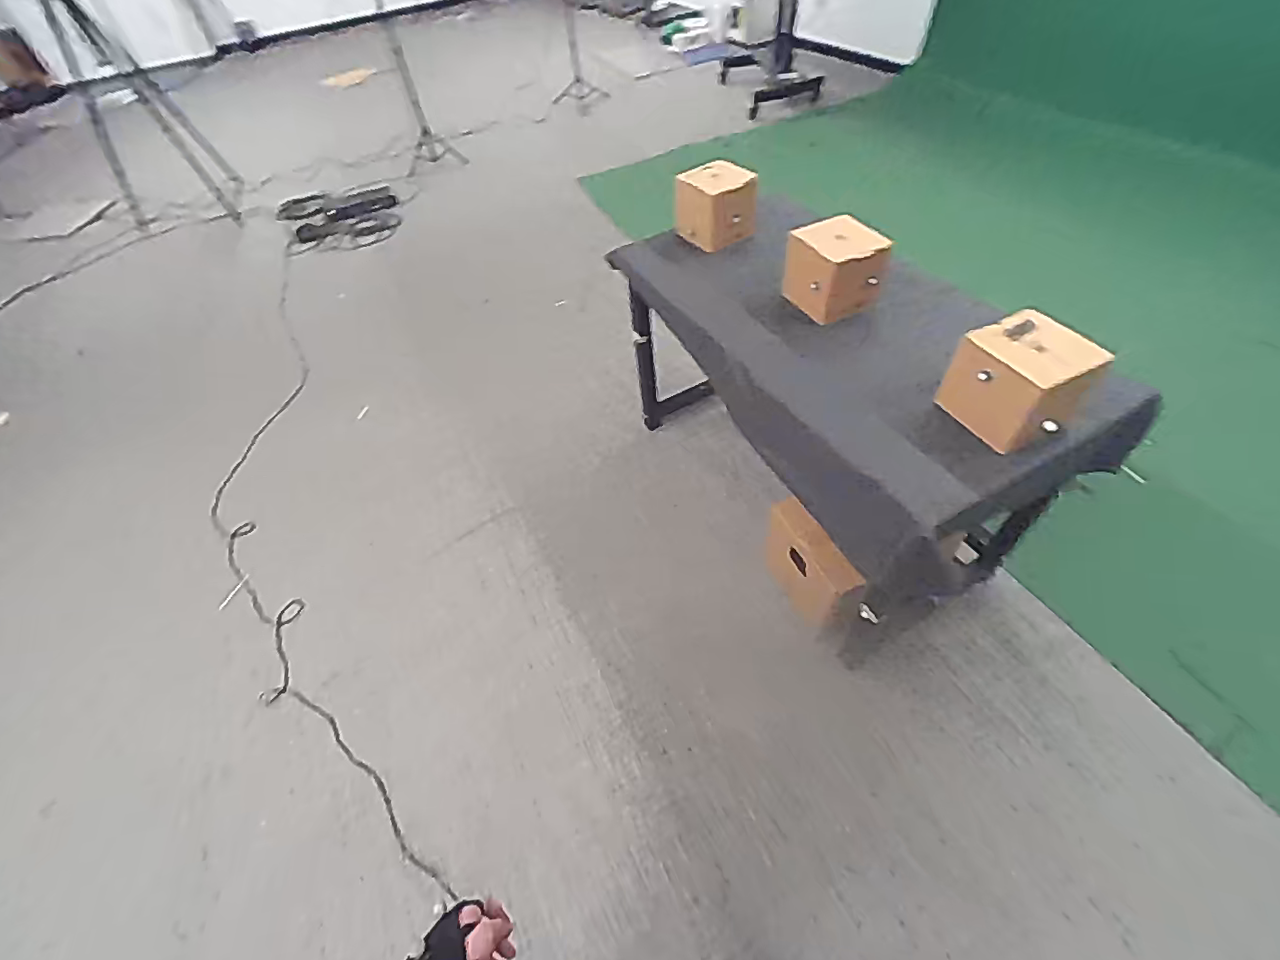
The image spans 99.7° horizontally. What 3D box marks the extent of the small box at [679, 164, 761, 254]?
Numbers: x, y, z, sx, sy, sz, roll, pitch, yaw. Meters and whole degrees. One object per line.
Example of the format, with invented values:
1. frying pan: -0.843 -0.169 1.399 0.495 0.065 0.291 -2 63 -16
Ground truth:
1. small box: 0.231 -0.790 1.588 0.168 0.176 0.179 -29 54 -17

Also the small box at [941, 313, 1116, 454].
1. small box: 0.713 -0.180 1.020 0.168 0.176 0.179 -22 52 -11

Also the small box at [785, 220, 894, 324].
1. small box: 0.478 -0.503 1.323 0.168 0.176 0.179 -22 50 -13
